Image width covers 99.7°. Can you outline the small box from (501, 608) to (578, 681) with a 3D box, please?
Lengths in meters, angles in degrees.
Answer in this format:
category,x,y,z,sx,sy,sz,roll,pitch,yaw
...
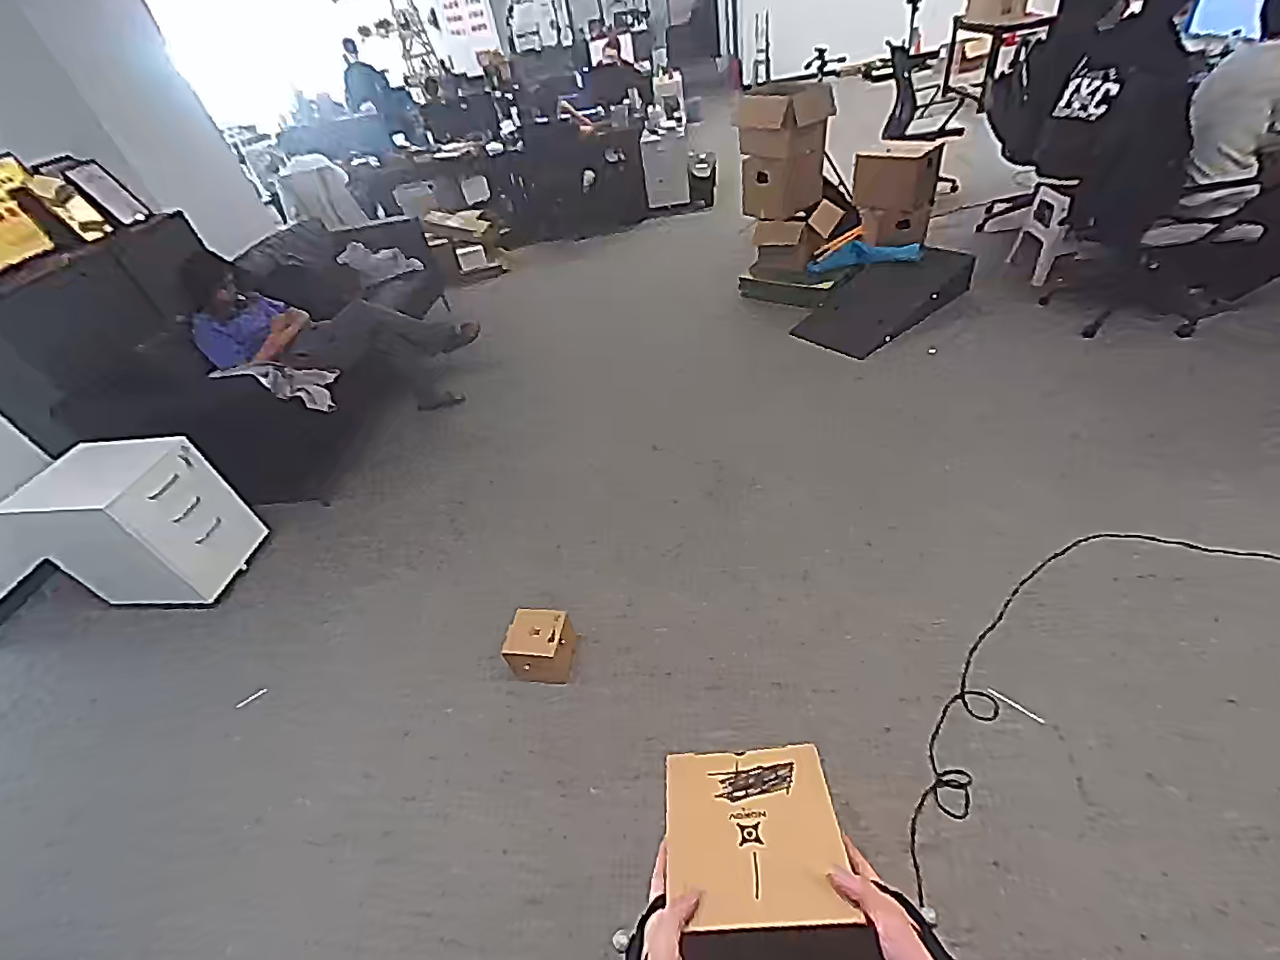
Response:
category,x,y,z,sx,sy,sz,roll,pitch,yaw
small box,-0.321,0.537,1.761,0.179,0.176,0.168,-1,41,14

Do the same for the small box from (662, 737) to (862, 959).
category,x,y,z,sx,sy,sz,roll,pitch,yaw
small box,0.118,0.399,0.554,0.168,0.176,0.179,-9,21,7
